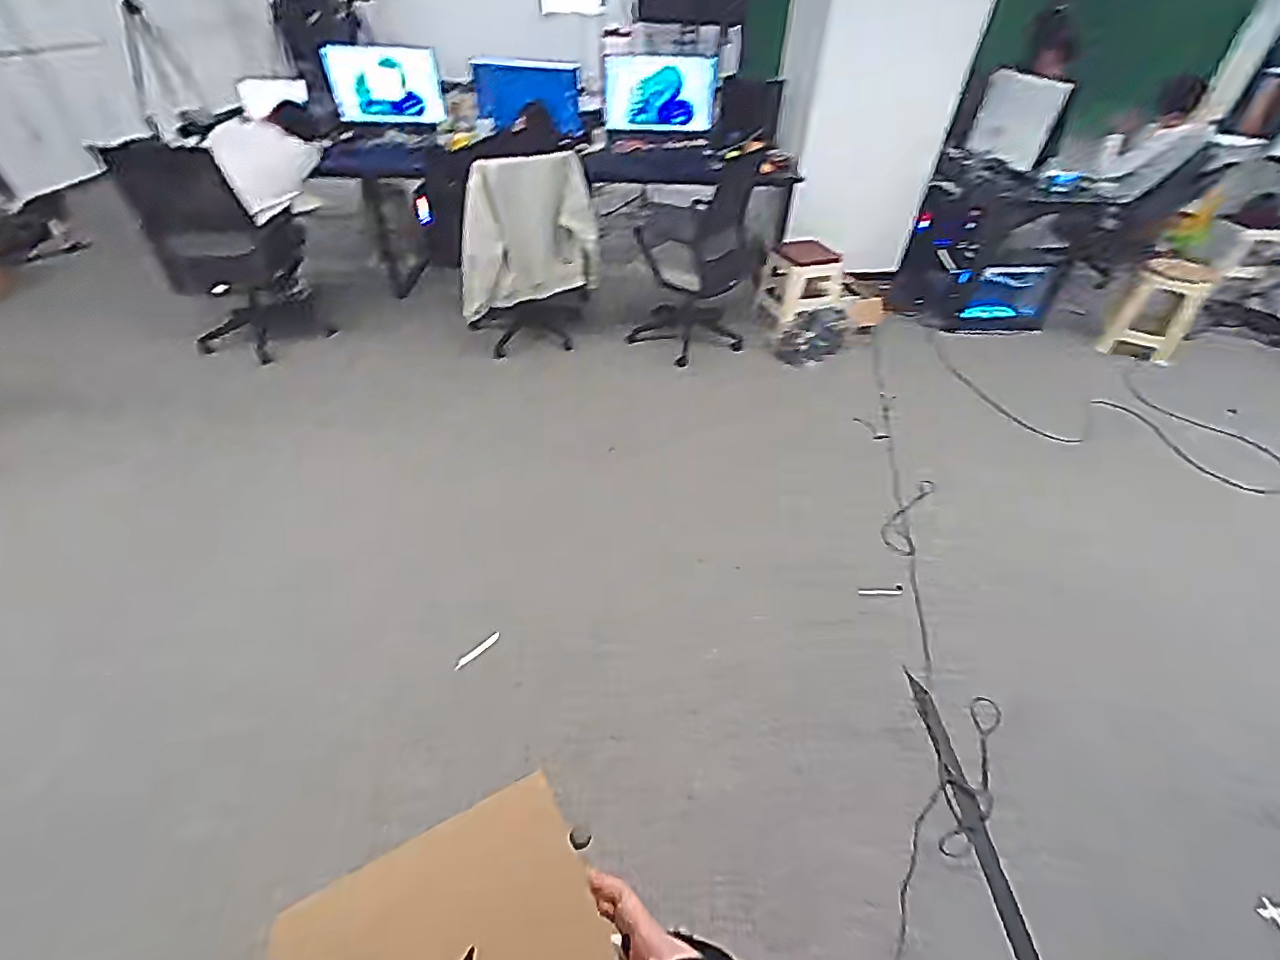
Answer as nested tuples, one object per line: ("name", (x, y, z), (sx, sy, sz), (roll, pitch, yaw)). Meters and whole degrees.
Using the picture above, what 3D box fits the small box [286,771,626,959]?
("small box", (-0.102, 0.334, 0.351), (0.168, 0.176, 0.179), (-18, 53, -24))
